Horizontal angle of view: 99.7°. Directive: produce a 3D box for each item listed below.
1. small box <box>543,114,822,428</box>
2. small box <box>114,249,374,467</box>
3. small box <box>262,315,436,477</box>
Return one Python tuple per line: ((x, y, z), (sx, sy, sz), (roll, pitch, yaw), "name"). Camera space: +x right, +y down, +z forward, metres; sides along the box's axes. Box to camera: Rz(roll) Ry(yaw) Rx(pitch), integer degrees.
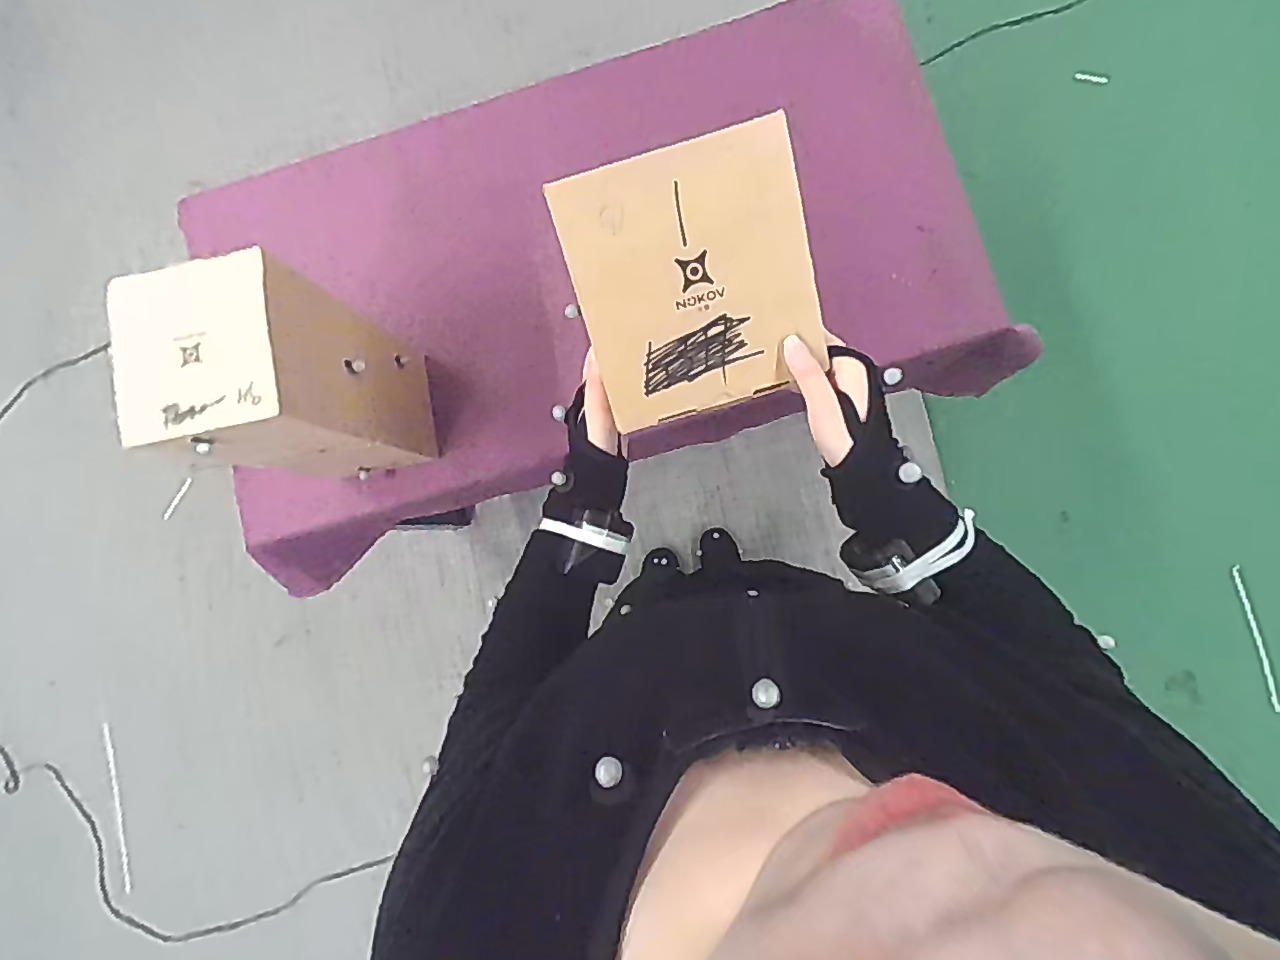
((0.032, -0.162, 0.455), (0.168, 0.176, 0.179), (-16, 106, 1), "small box")
((-0.429, -0.123, 0.609), (0.168, 0.176, 0.179), (-11, 83, 5), "small box")
((-0.414, -0.108, 0.773), (0.168, 0.176, 0.179), (-11, 85, 4), "small box")
